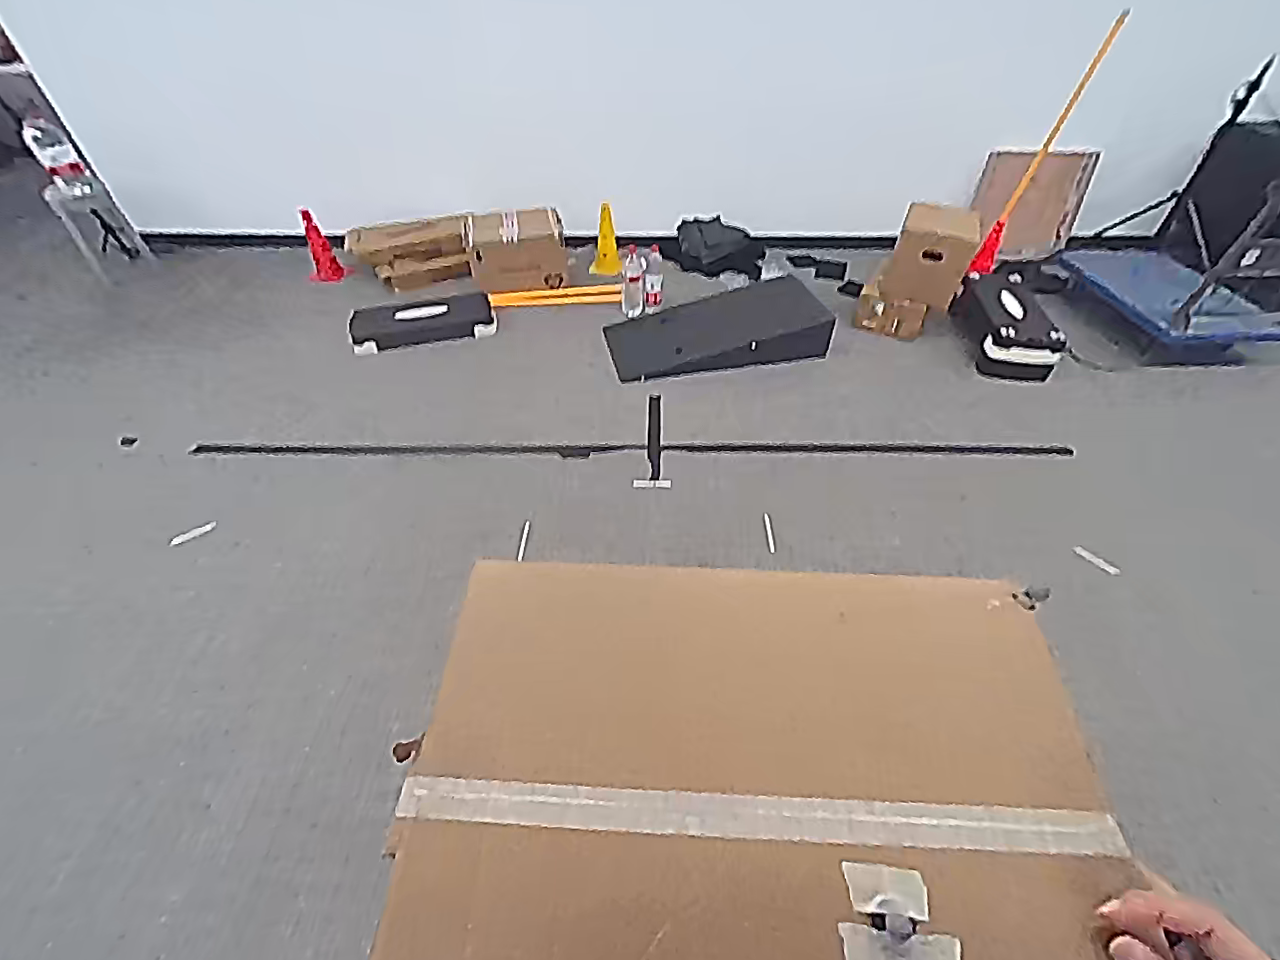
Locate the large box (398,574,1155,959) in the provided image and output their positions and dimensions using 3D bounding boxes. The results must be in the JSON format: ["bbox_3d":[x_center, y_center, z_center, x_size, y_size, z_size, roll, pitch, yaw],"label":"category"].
[{"bbox_3d":[0.072,0.288,0.441,0.408,0.320,0.320,2,54,2],"label":"large box"}]
